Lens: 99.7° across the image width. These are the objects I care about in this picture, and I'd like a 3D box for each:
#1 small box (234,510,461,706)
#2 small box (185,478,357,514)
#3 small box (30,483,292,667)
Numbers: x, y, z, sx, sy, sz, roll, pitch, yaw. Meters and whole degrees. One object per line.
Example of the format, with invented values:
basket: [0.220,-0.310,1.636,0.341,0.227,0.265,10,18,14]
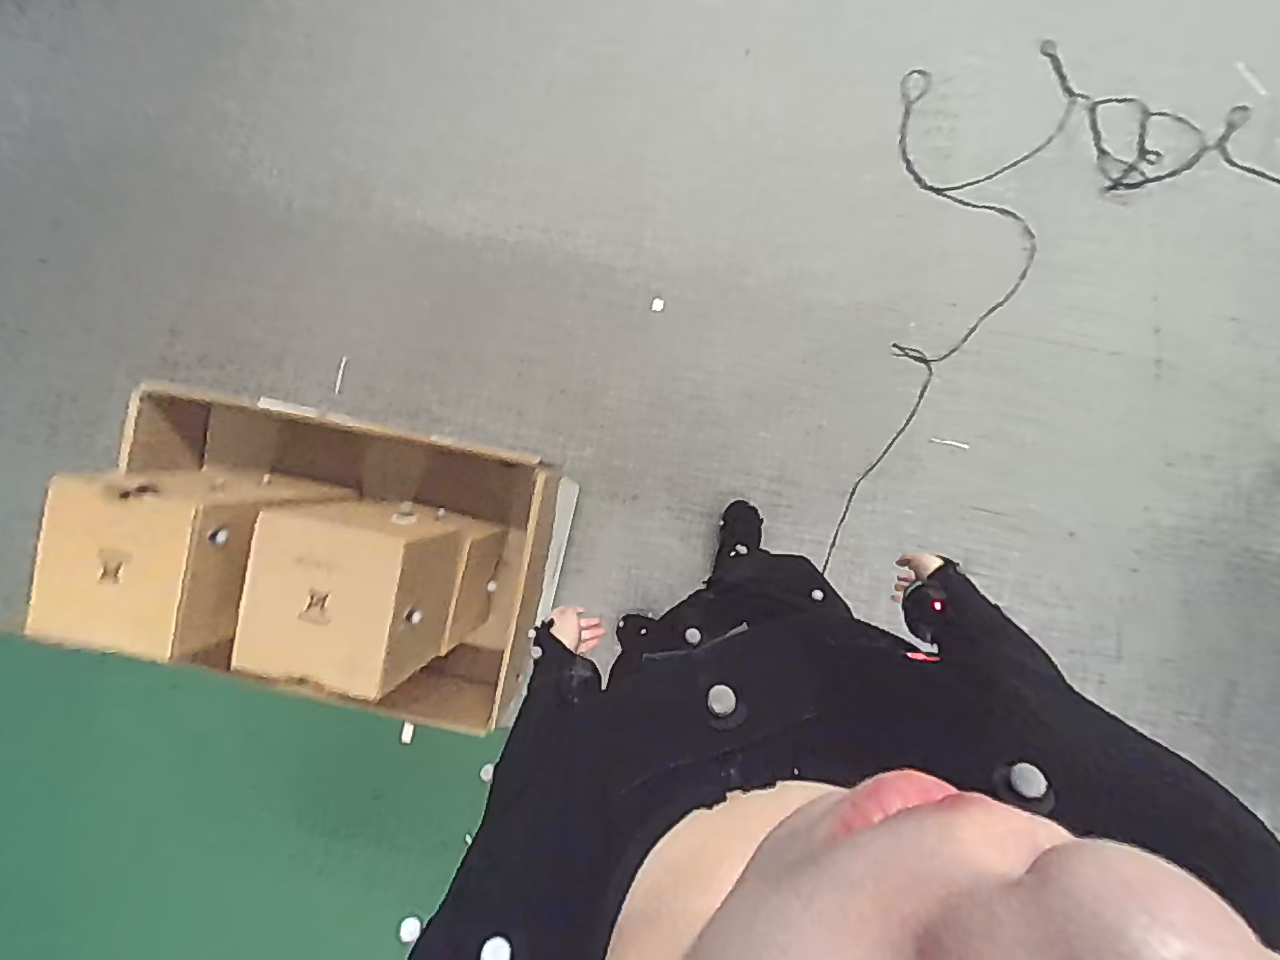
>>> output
small box: [-0.334,0.138,0.650,0.168,0.176,0.179,10,90,3]
small box: [-0.563,0.099,0.826,0.168,0.176,0.179,11,91,0]
small box: [-0.565,0.103,0.663,0.168,0.176,0.179,10,90,1]
